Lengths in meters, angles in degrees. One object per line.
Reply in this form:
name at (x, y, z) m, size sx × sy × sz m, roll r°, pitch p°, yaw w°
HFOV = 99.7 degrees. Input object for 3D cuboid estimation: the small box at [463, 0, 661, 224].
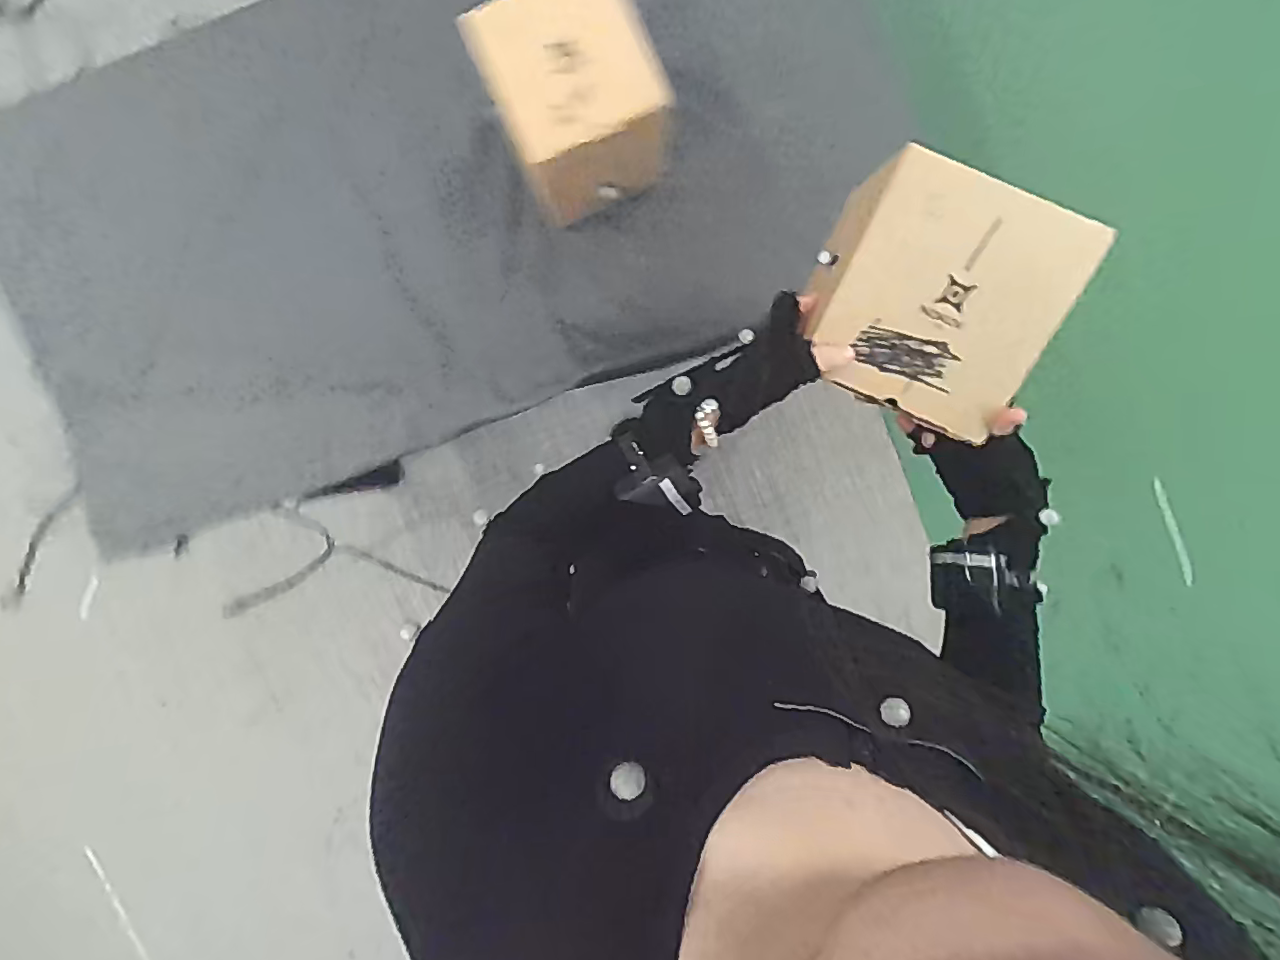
small box at (-0.087, -0.459, 0.669) m, size 0.168 × 0.176 × 0.179 m, roll -25°, pitch 92°, yaw 1°
